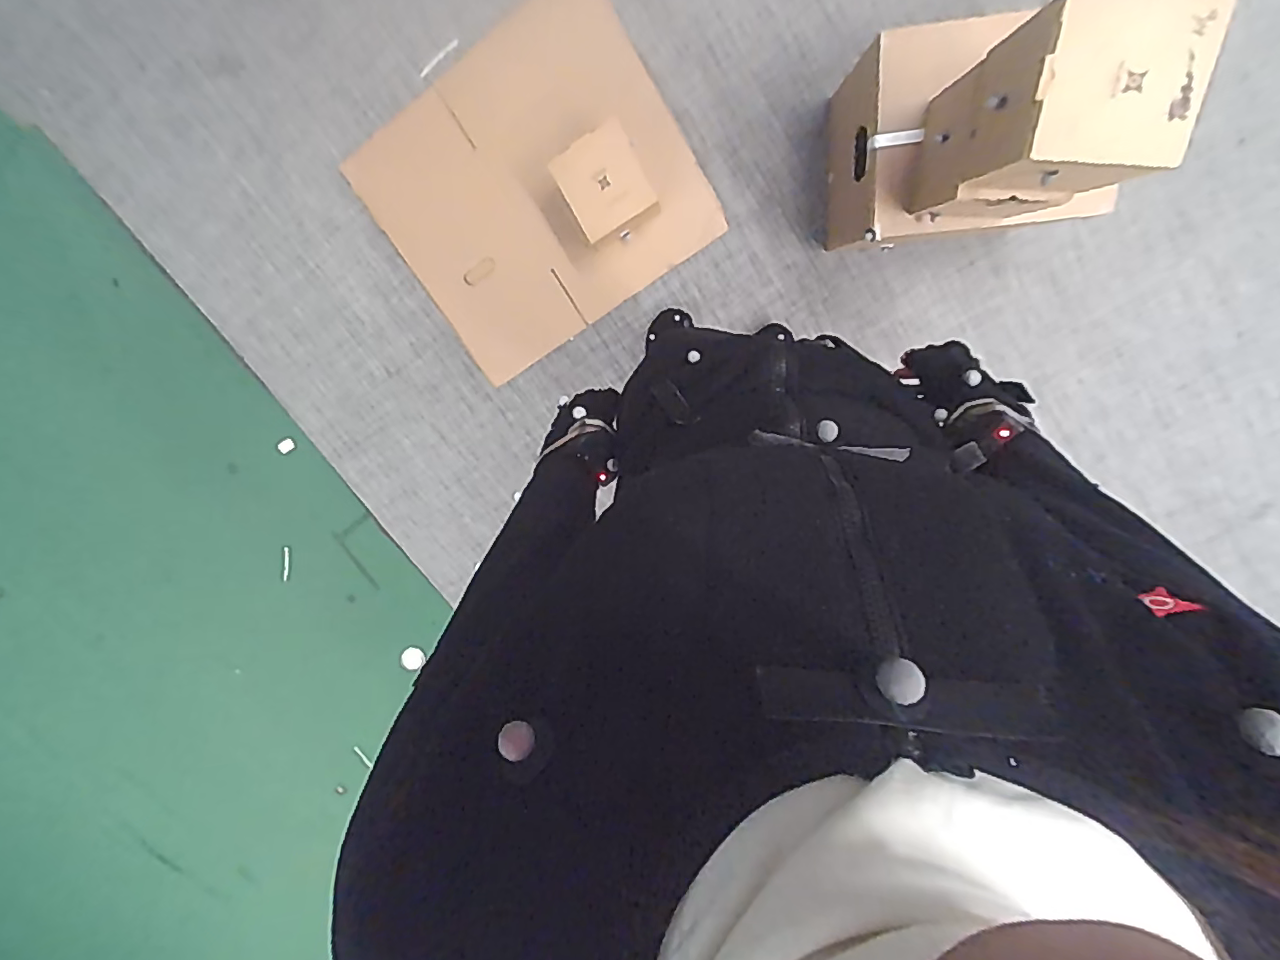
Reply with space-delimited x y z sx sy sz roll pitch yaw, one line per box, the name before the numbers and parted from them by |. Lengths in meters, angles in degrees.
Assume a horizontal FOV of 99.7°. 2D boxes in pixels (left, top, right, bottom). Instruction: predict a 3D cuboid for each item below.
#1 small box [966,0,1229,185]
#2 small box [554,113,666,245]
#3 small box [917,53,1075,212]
small box | 0.543 -0.476 0.673 0.179 0.176 0.168 2 108 3
small box | -0.056 -0.628 1.156 0.168 0.176 0.179 -28 105 14
small box | 0.549 -0.518 0.829 0.168 0.176 0.179 3 109 4
